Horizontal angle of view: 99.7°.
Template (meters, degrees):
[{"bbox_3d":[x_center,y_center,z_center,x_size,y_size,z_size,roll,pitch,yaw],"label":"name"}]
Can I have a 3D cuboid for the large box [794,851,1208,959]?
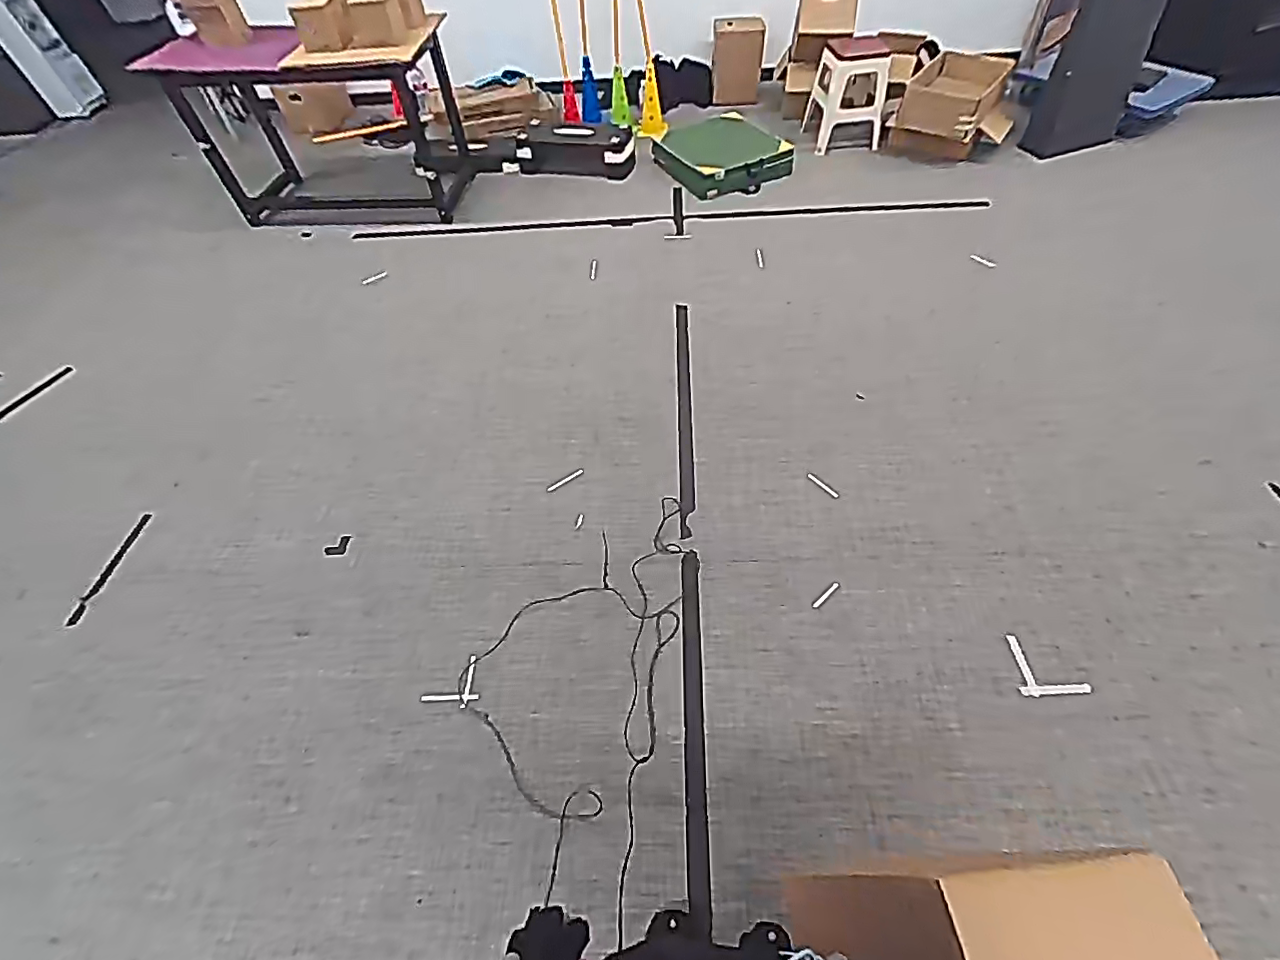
[{"bbox_3d":[0.452,0.682,0.689,0.320,0.408,0.320,2,54,-10],"label":"large box"}]
